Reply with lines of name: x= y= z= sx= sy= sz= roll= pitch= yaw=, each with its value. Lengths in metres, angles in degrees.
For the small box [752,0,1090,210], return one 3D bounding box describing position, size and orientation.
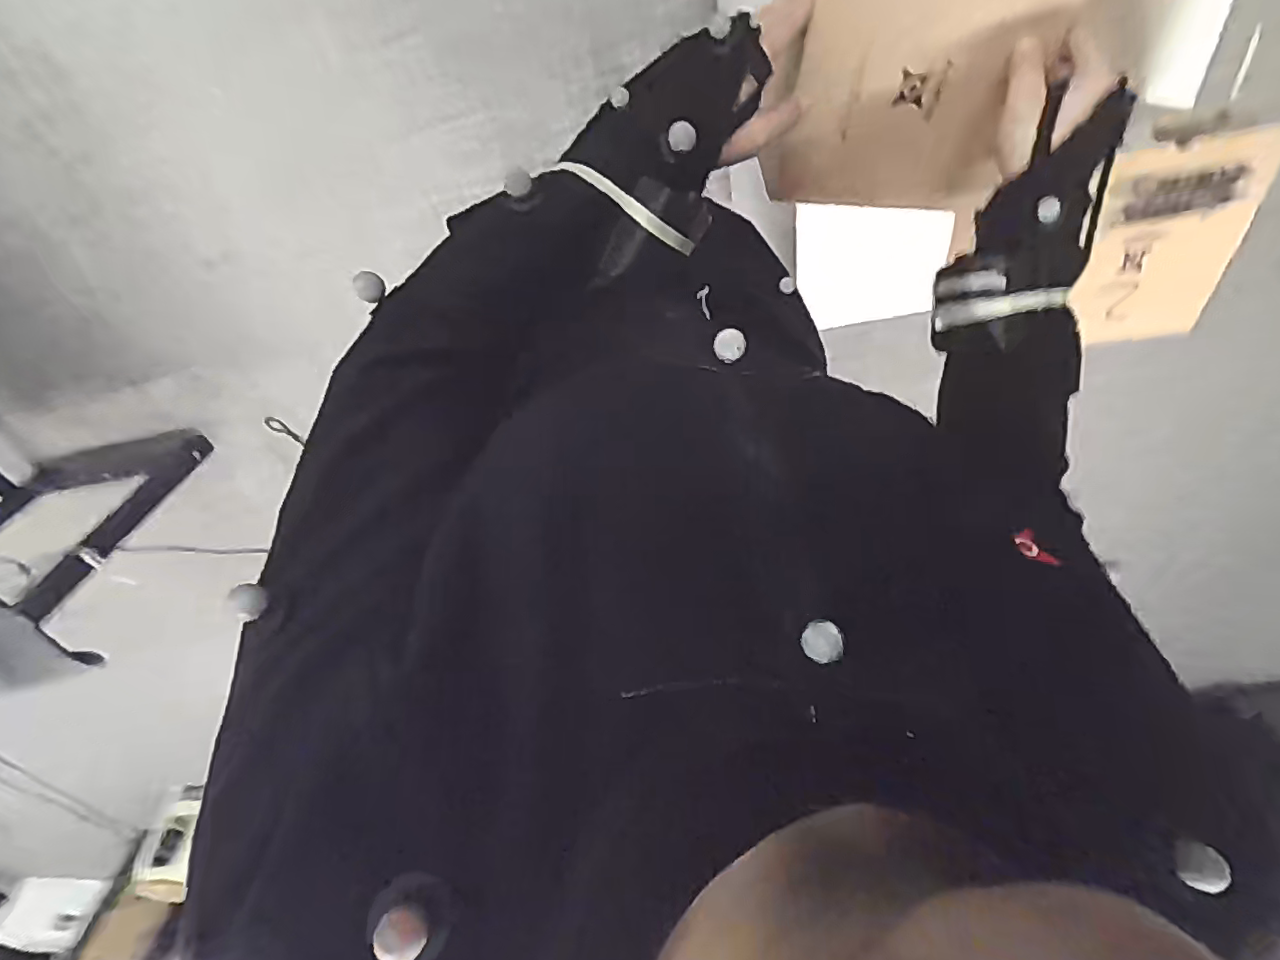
small box: x=0.196 y=-0.337 z=0.425 sx=0.179 sy=0.176 sz=0.168 roll=4 pitch=140 yaw=0
